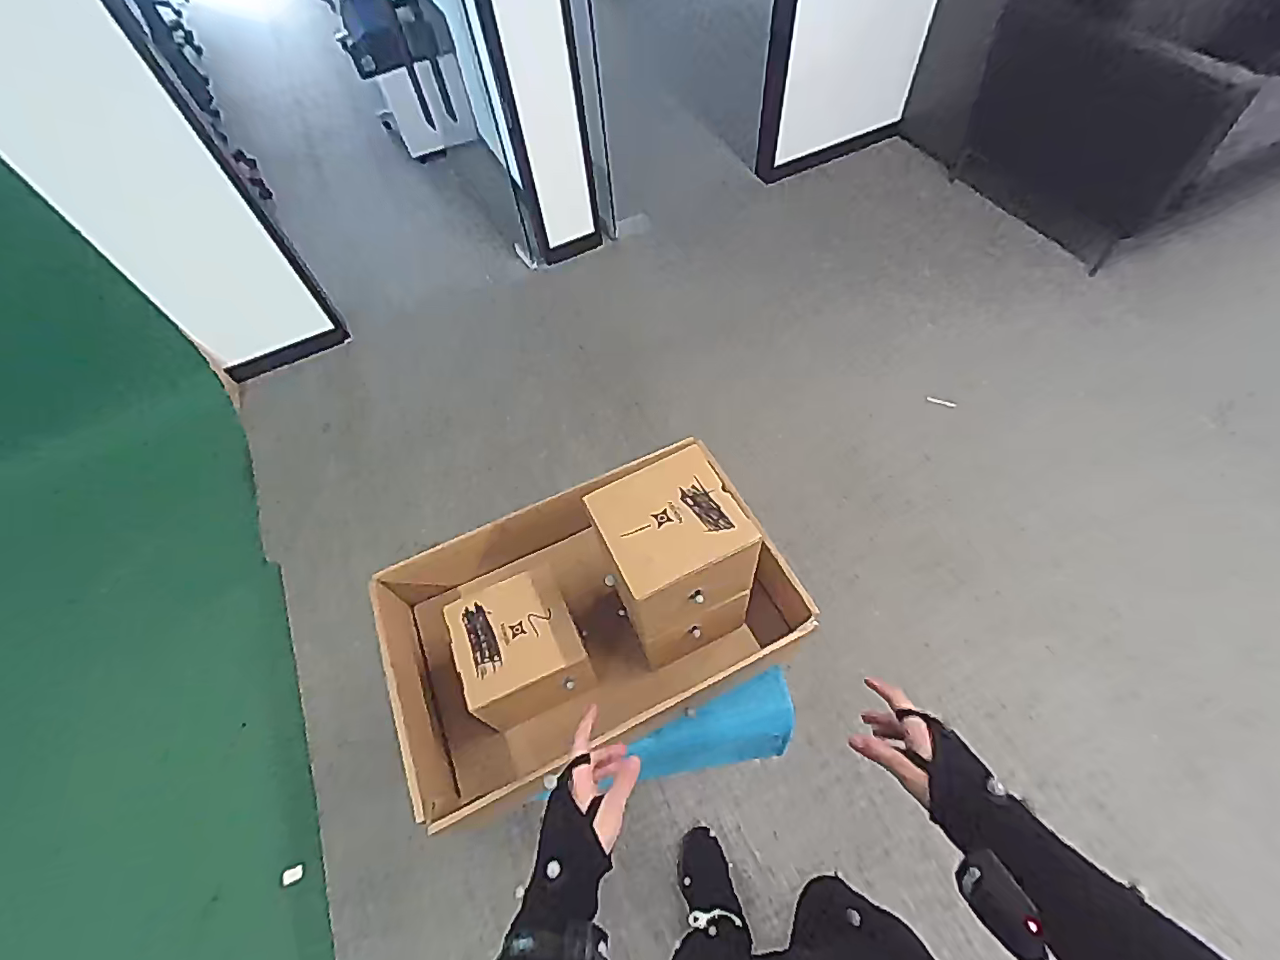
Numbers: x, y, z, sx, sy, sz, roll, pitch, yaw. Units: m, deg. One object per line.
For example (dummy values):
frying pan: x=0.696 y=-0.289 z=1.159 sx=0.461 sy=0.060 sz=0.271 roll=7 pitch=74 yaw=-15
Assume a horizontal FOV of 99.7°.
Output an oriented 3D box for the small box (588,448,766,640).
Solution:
small box: x=0.050 y=0.093 z=0.745 sx=0.179 sy=0.176 sz=0.168 roll=-25 pitch=57 yaw=-9
